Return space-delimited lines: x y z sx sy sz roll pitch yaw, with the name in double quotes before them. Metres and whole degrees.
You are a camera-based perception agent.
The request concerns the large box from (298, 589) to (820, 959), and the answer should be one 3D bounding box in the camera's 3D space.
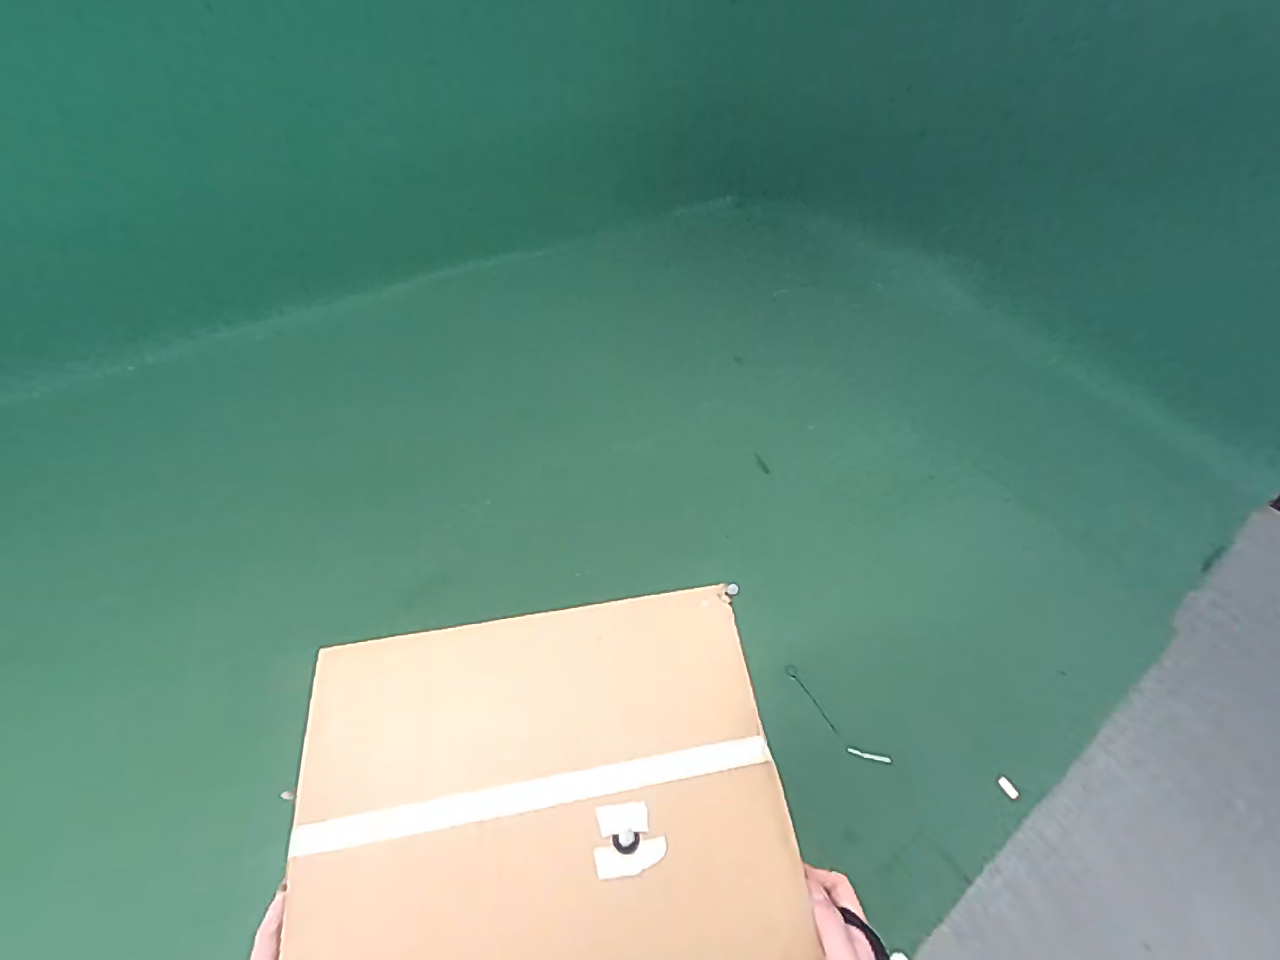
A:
"large box" -0.083 0.348 0.599 0.408 0.320 0.320 -7 60 -6
